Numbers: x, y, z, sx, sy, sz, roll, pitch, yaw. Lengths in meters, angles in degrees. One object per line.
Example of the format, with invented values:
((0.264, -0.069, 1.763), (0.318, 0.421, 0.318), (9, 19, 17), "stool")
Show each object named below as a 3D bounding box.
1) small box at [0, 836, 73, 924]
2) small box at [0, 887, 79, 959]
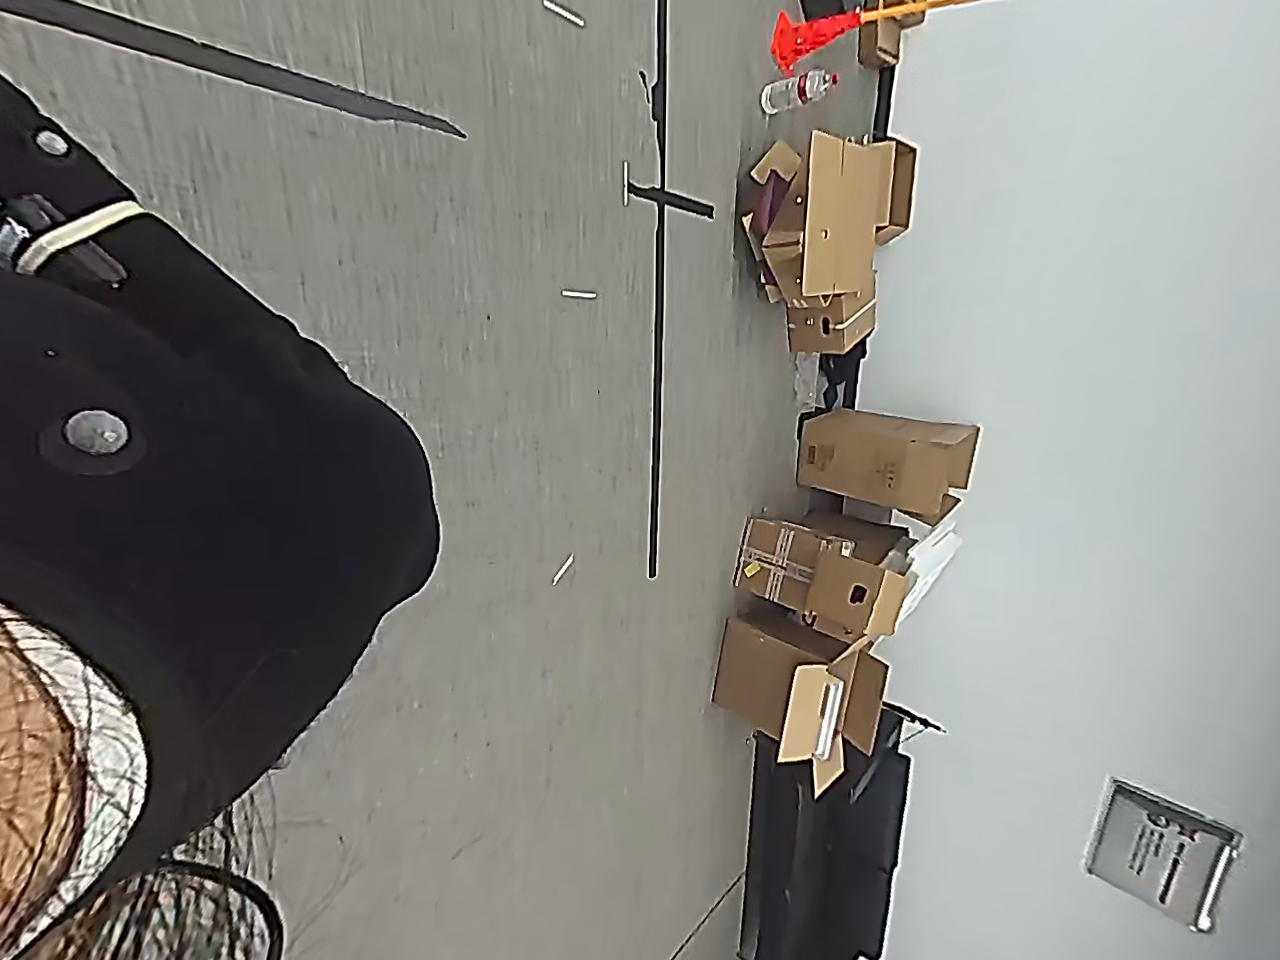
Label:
((-1.248, 0.857, 1.055), (0.179, 0.176, 0.168), (-16, 112, -46), "small box")
((-1.121, 0.884, 0.953), (0.179, 0.176, 0.168), (-12, 109, -47), "small box")
